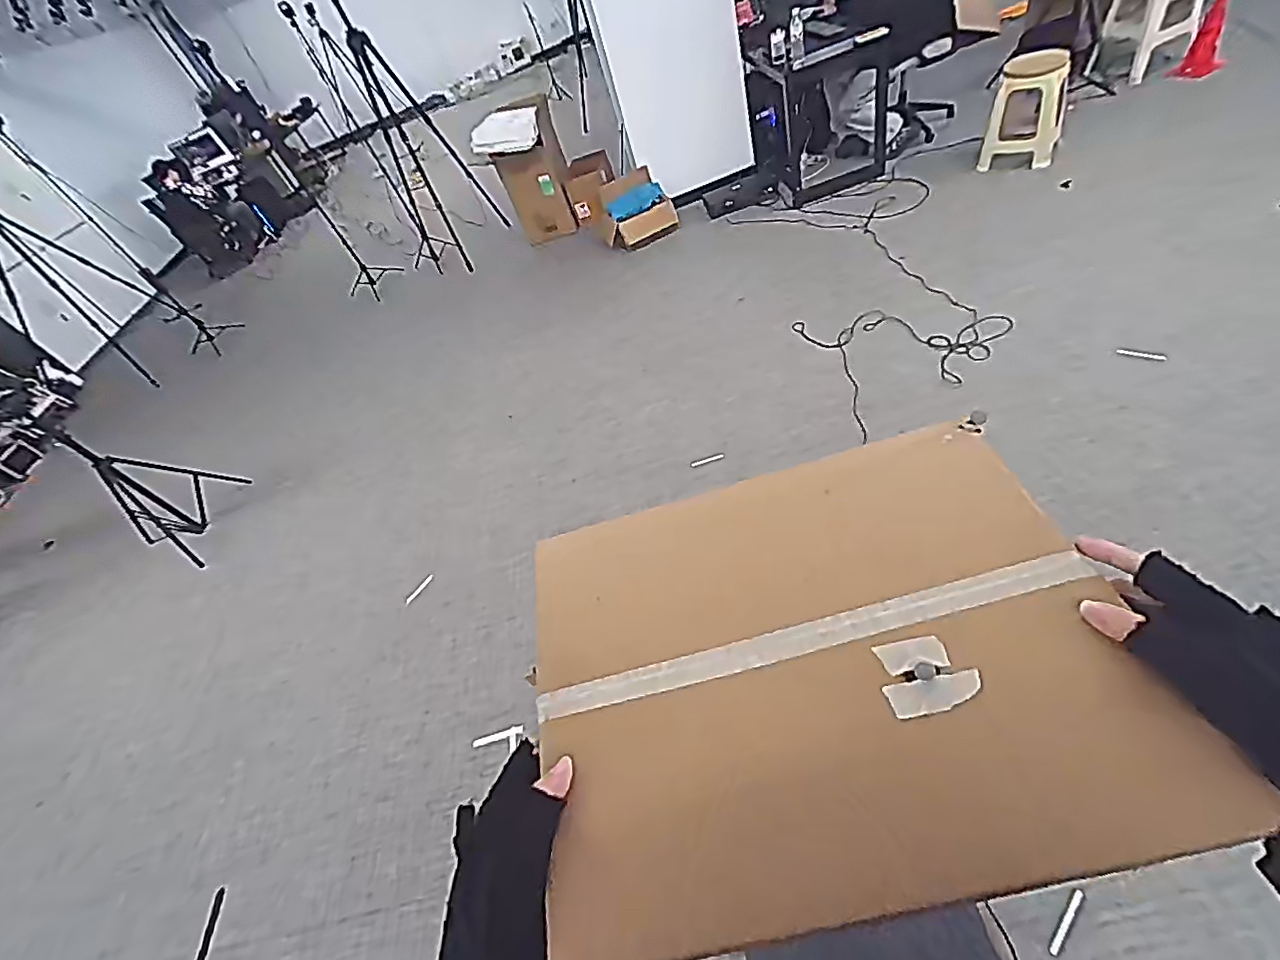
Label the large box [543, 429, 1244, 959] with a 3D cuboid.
[{"bbox_3d":[0.155,0.214,0.518,0.408,0.320,0.320,-17,49,5],"label":"large box"}]
